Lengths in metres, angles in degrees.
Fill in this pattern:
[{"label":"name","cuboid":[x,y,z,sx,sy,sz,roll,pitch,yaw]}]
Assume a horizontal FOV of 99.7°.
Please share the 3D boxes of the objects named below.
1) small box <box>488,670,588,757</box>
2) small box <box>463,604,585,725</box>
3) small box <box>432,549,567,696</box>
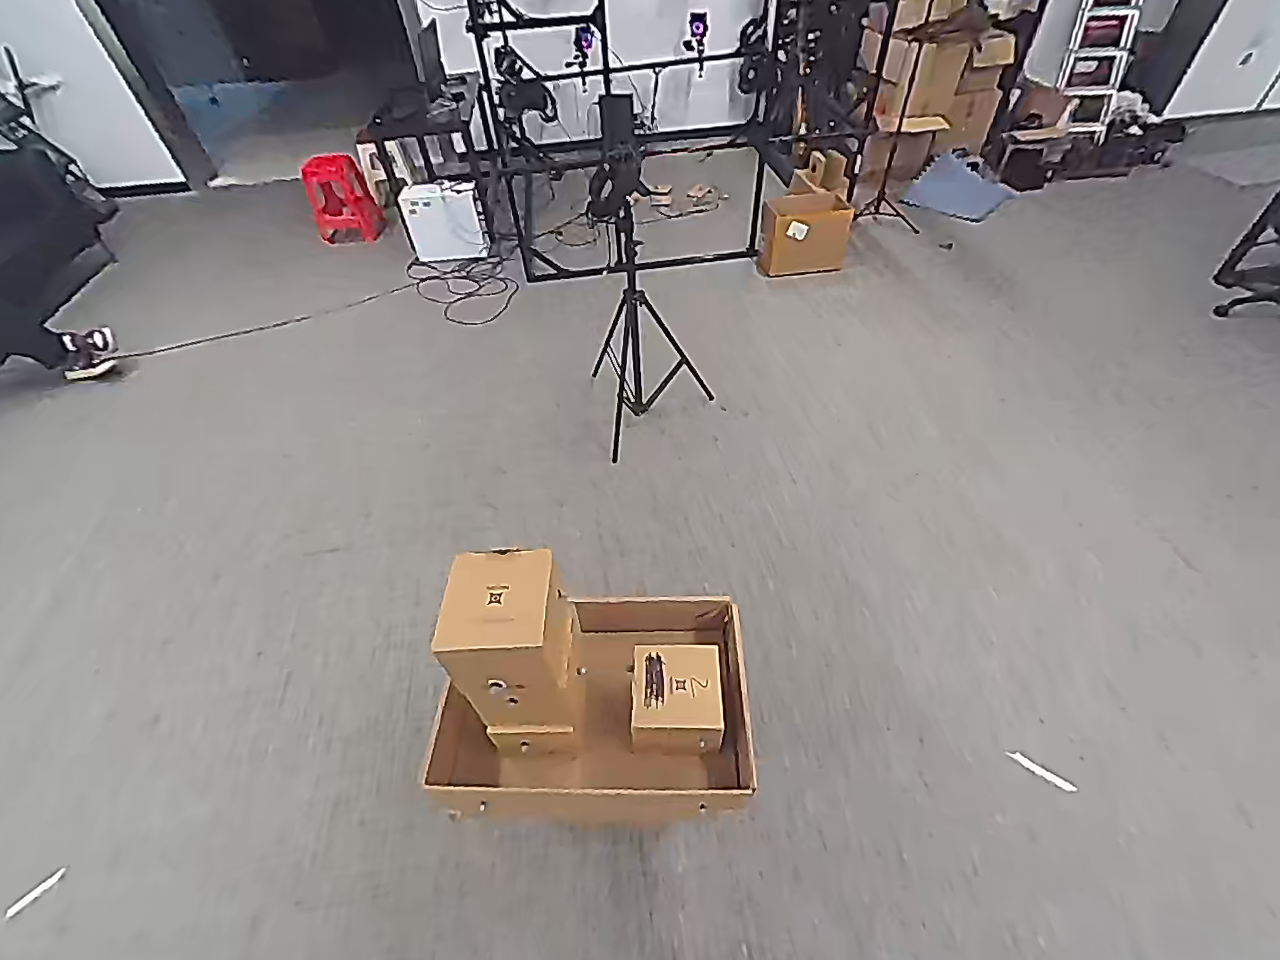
[{"label":"small box","cuboid":[-0.201,0.463,1.121,0.168,0.176,0.179,-1,46,1]},{"label":"small box","cuboid":[-0.204,0.345,1.006,0.179,0.176,0.168,0,47,2]},{"label":"small box","cuboid":[-0.216,0.233,0.886,0.168,0.176,0.179,-3,46,2]}]
